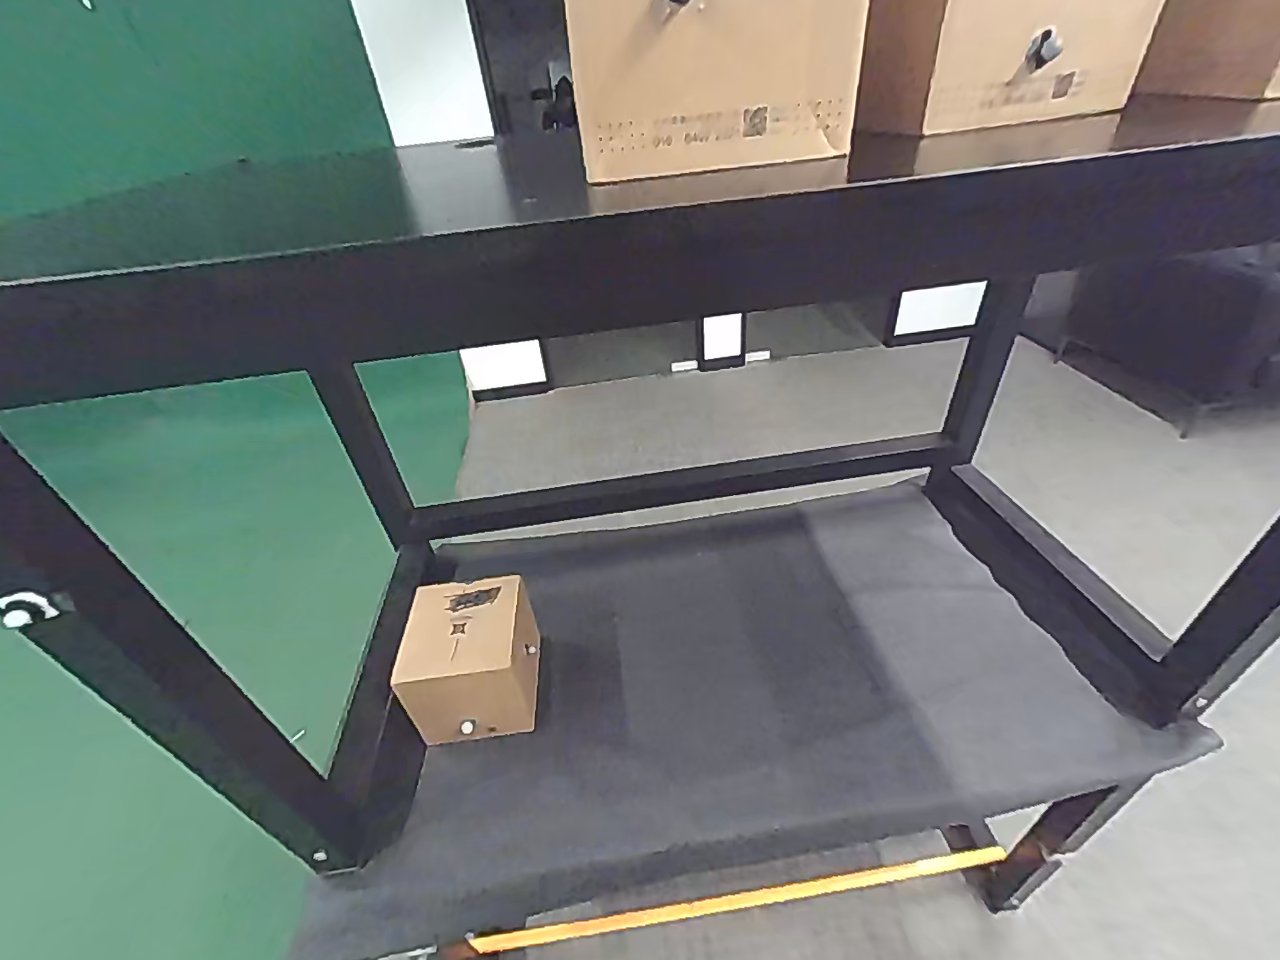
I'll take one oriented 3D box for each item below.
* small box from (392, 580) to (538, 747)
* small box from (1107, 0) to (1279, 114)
[{"bbox_3d":[-0.257,0.283,0.844,0.168,0.176,0.179,-7,37,-2],"label":"small box"},{"bbox_3d":[0.500,-0.370,0.386,0.168,0.176,0.179,-1,37,6],"label":"small box"}]
